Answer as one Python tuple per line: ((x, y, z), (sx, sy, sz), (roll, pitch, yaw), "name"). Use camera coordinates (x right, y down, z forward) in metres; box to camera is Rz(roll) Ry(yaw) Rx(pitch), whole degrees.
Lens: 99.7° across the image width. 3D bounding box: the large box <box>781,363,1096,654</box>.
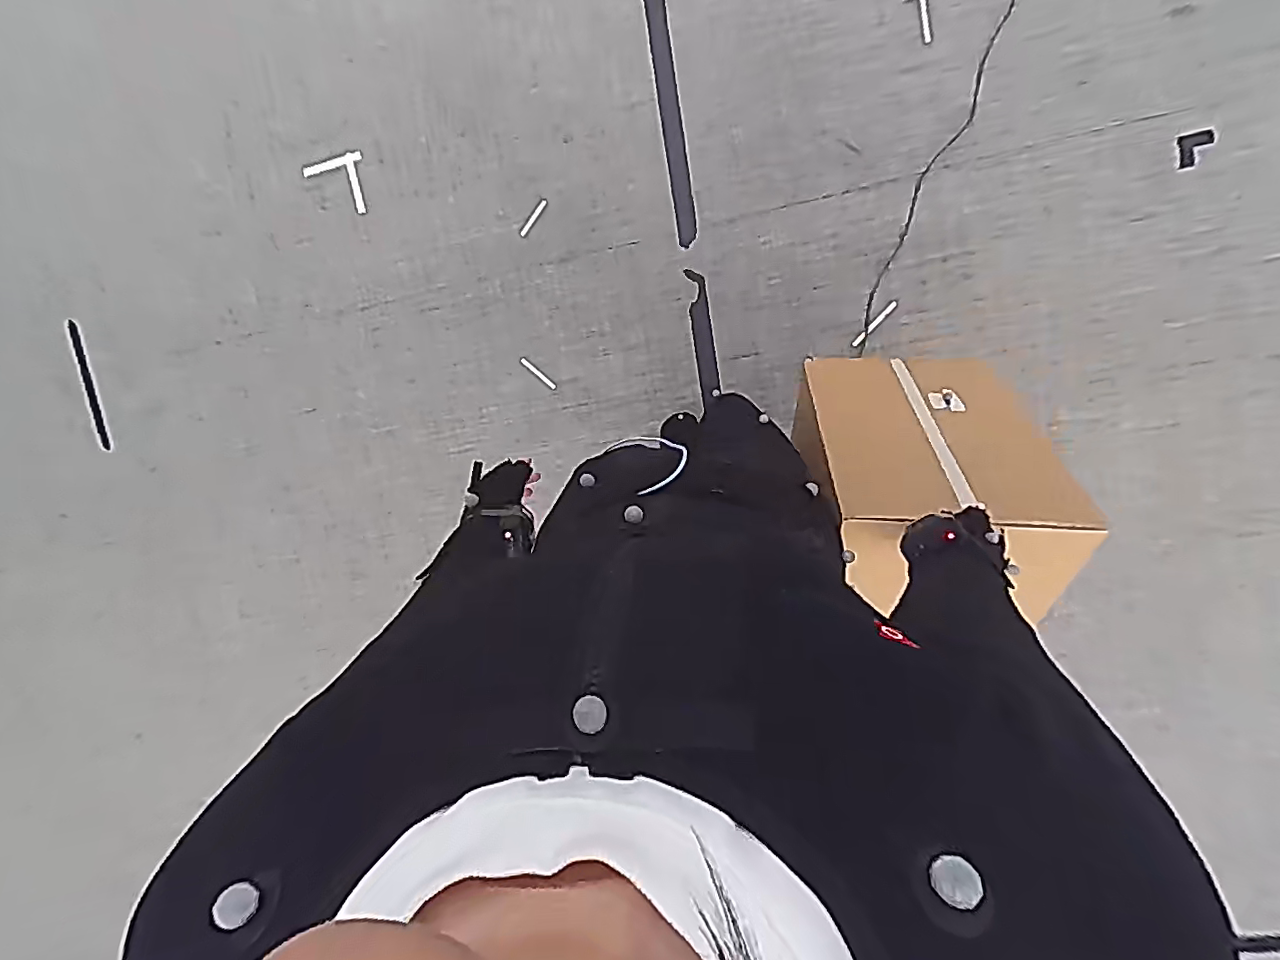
((0.434, 0.037, 0.920), (0.320, 0.408, 0.320), (3, 130, 4), "large box")
